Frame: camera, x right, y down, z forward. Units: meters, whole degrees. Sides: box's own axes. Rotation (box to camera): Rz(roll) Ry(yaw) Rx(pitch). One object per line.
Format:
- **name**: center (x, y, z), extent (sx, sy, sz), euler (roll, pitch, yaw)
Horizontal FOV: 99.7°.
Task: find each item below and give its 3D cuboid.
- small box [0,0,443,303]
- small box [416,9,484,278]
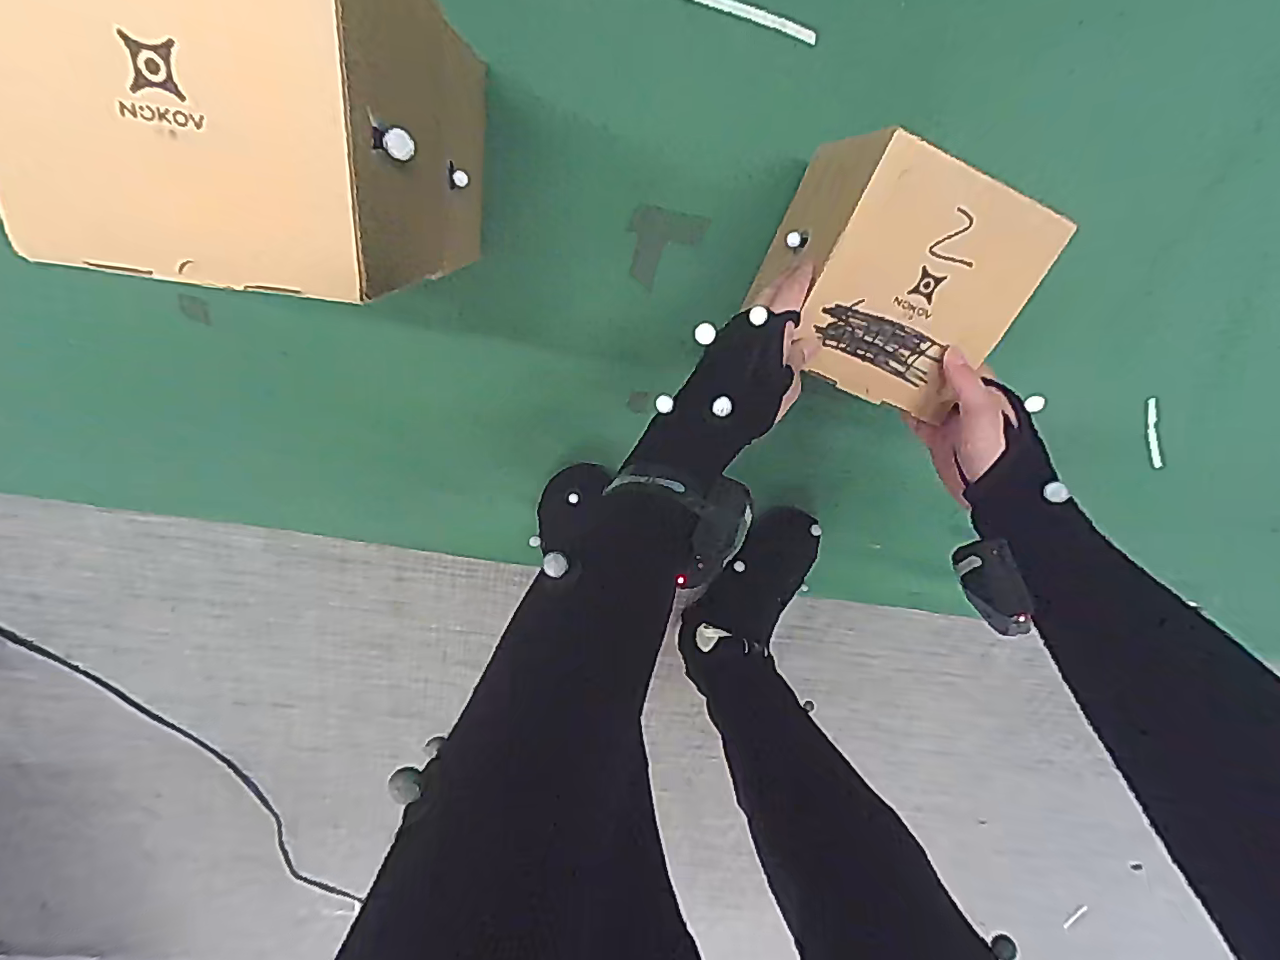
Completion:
- **small box**: center (-0.219, -0.217, 0.312), extent (0.168, 0.176, 0.179), euler (6, 118, -7)
- **small box**: center (-0.233, -0.286, 0.458), extent (0.168, 0.176, 0.179), euler (7, 116, -8)
